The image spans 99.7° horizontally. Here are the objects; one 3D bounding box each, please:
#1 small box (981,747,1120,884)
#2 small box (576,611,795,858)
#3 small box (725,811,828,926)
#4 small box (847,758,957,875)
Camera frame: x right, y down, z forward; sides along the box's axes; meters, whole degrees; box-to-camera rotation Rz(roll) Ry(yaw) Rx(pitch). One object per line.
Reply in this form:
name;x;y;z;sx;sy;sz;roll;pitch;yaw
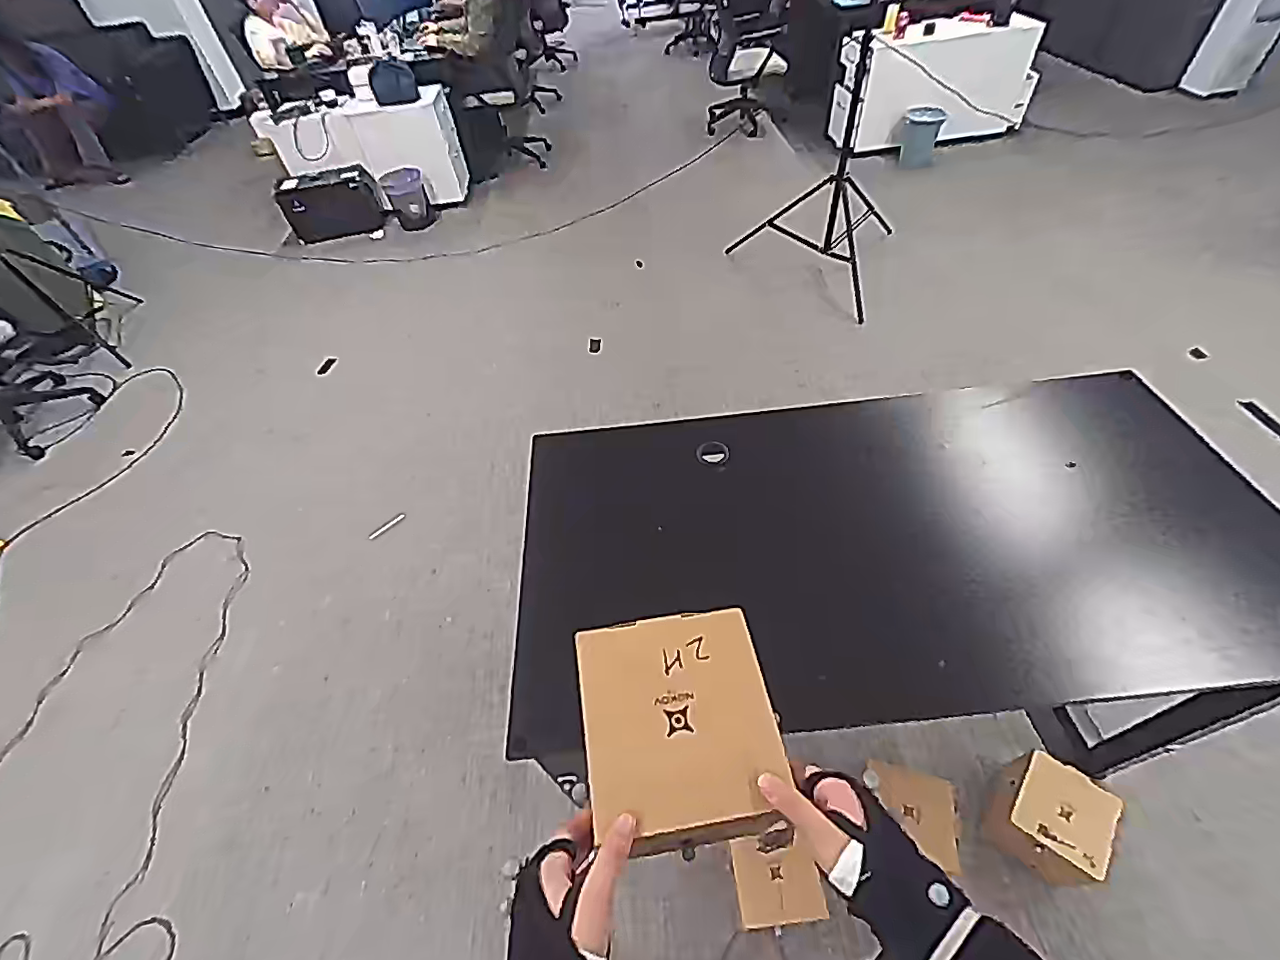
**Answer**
small box;0.863;0.714;1.151;0.168;0.176;0.179;29;59;27
small box;0.033;0.255;0.534;0.168;0.176;0.179;-8;51;-6
small box;0.274;0.816;1.134;0.168;0.176;0.179;-7;51;1
small box;0.561;0.733;1.173;0.179;0.176;0.168;9;51;15
